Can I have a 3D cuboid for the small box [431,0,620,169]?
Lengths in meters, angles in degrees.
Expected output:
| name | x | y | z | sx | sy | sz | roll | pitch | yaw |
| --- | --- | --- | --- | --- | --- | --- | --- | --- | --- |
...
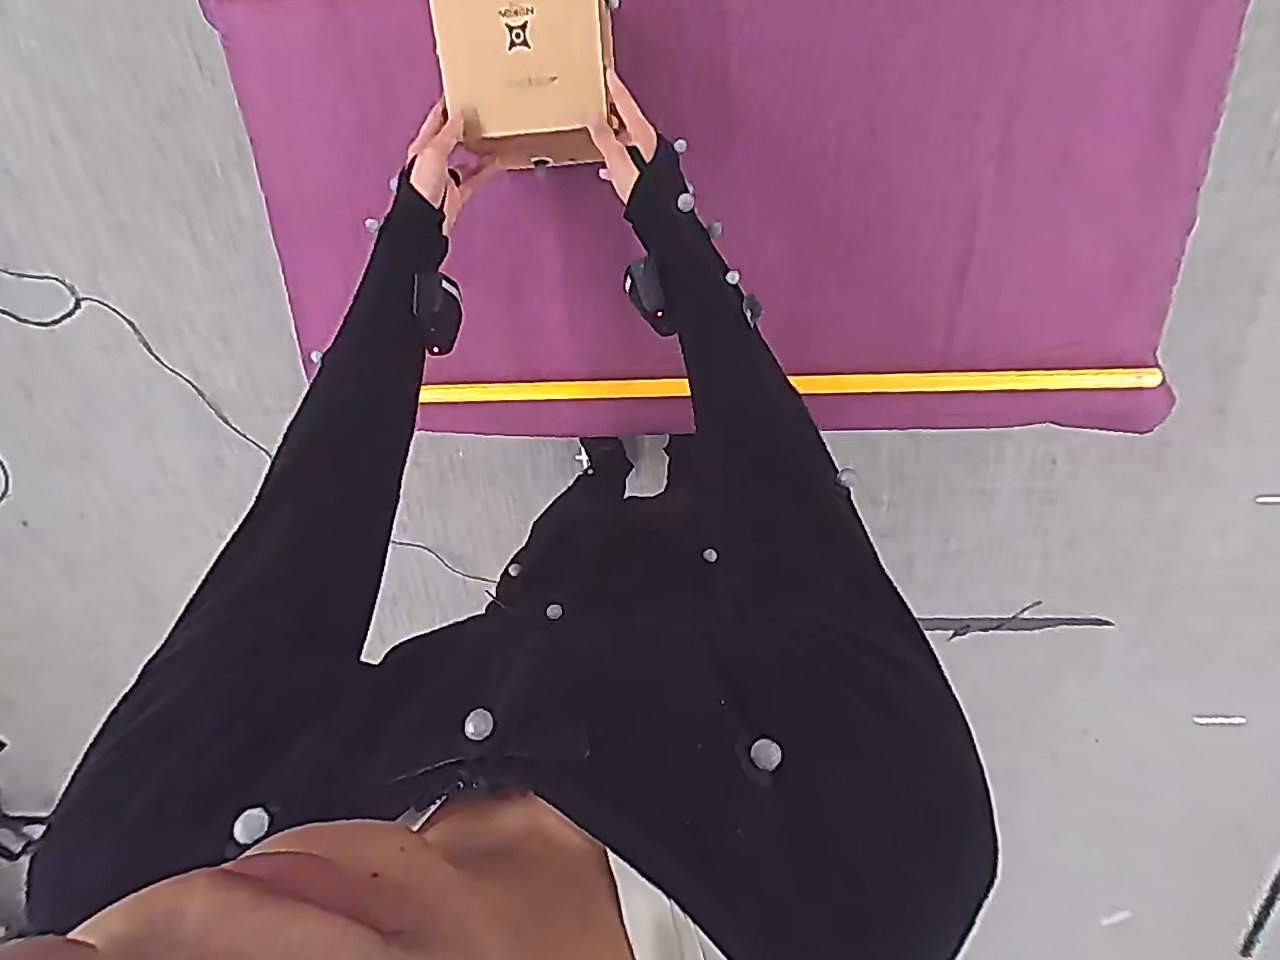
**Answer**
| name | x | y | z | sx | sy | sz | roll | pitch | yaw |
| --- | --- | --- | --- | --- | --- | --- | --- | --- | --- |
| small box | -0.114 | -0.465 | 0.596 | 0.168 | 0.176 | 0.179 | -3 | 109 | 4 |
